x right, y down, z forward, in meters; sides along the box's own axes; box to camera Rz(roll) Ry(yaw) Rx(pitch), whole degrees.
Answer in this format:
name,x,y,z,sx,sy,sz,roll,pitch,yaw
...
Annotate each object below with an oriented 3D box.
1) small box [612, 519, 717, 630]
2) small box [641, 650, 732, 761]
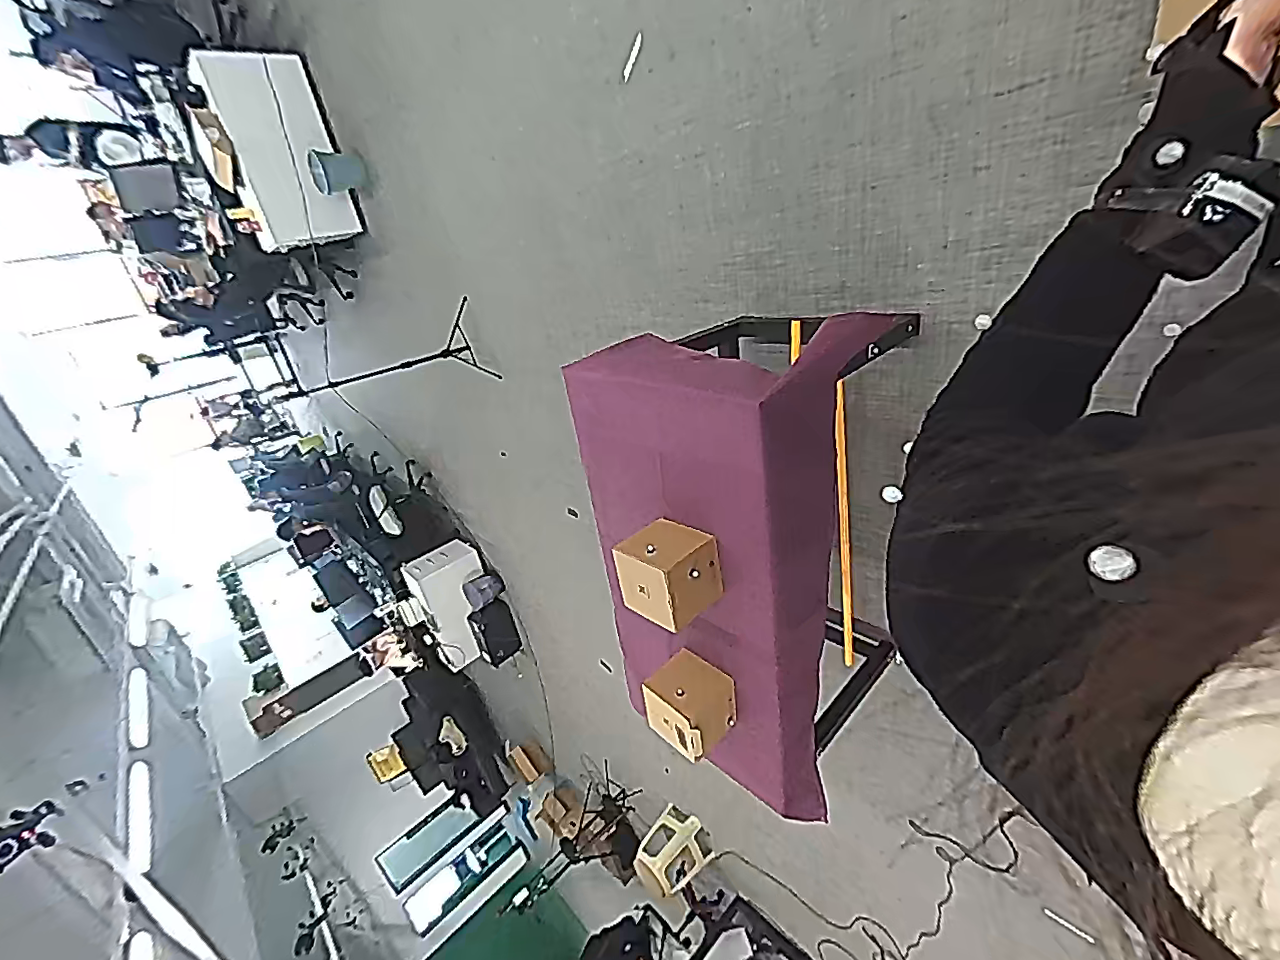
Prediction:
name,x,y,z,sx,sy,sz,roll,pitch,yaw
small box,0.064,0.208,1.248,0.179,0.176,0.168,17,126,46
small box,0.130,0.585,1.430,0.179,0.176,0.168,21,129,44
